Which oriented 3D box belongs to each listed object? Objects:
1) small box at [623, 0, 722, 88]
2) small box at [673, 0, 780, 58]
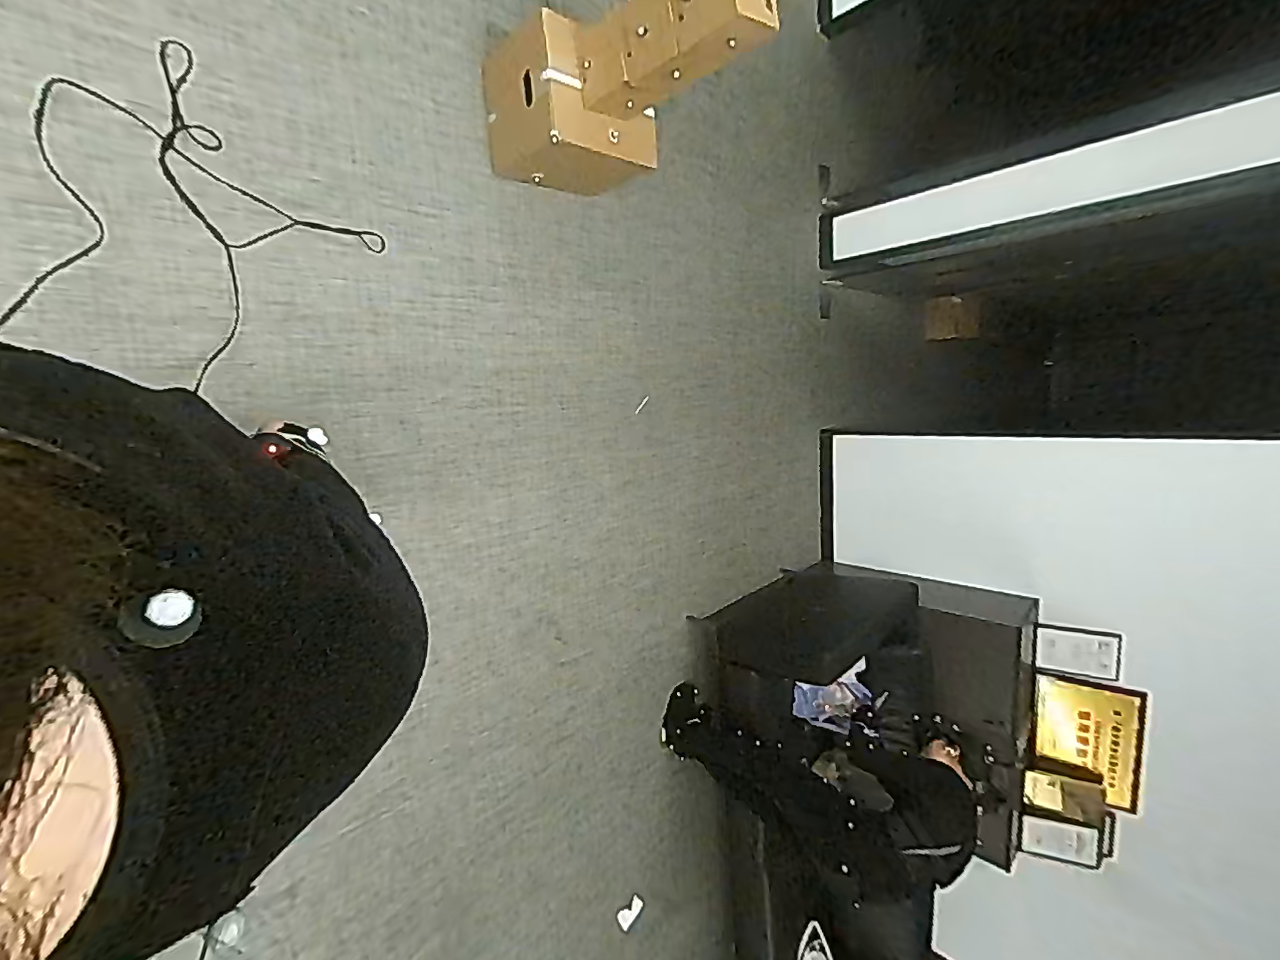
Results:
[{"bbox_3d":[0.075,-1.108,1.341,0.179,0.176,0.168,-25,111,-40],"label":"small box"},{"bbox_3d":[0.193,-1.098,1.225,0.179,0.176,0.168,-26,111,-40],"label":"small box"}]
